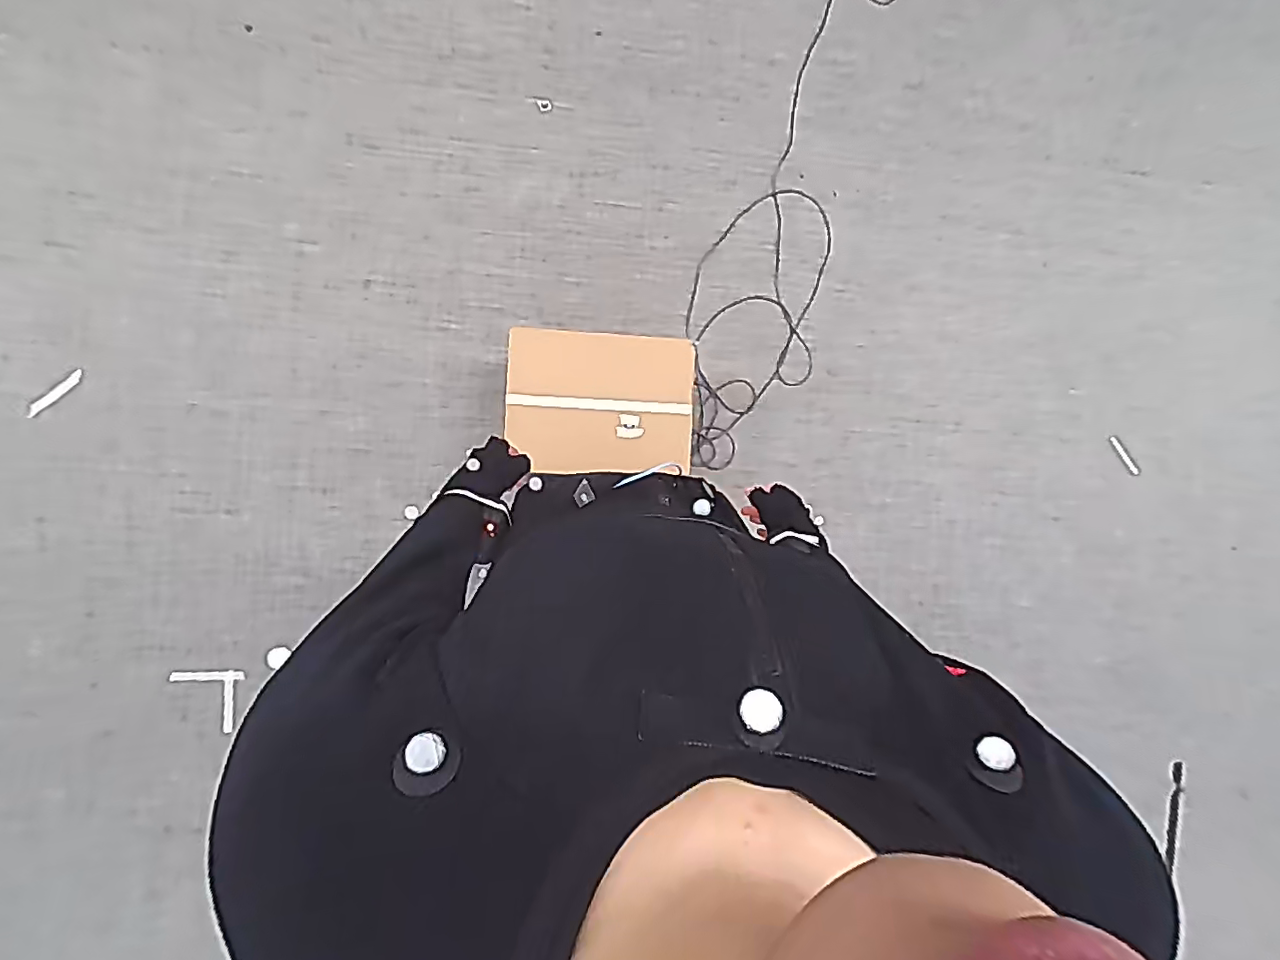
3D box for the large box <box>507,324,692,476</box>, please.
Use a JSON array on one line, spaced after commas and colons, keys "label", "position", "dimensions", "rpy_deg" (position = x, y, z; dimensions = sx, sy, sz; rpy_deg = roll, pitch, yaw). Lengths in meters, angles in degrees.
[{"label": "large box", "position": [-0.102, -0.174, 1.331], "dimensions": [0.408, 0.320, 0.320], "rpy_deg": [3, 90, -6]}]
